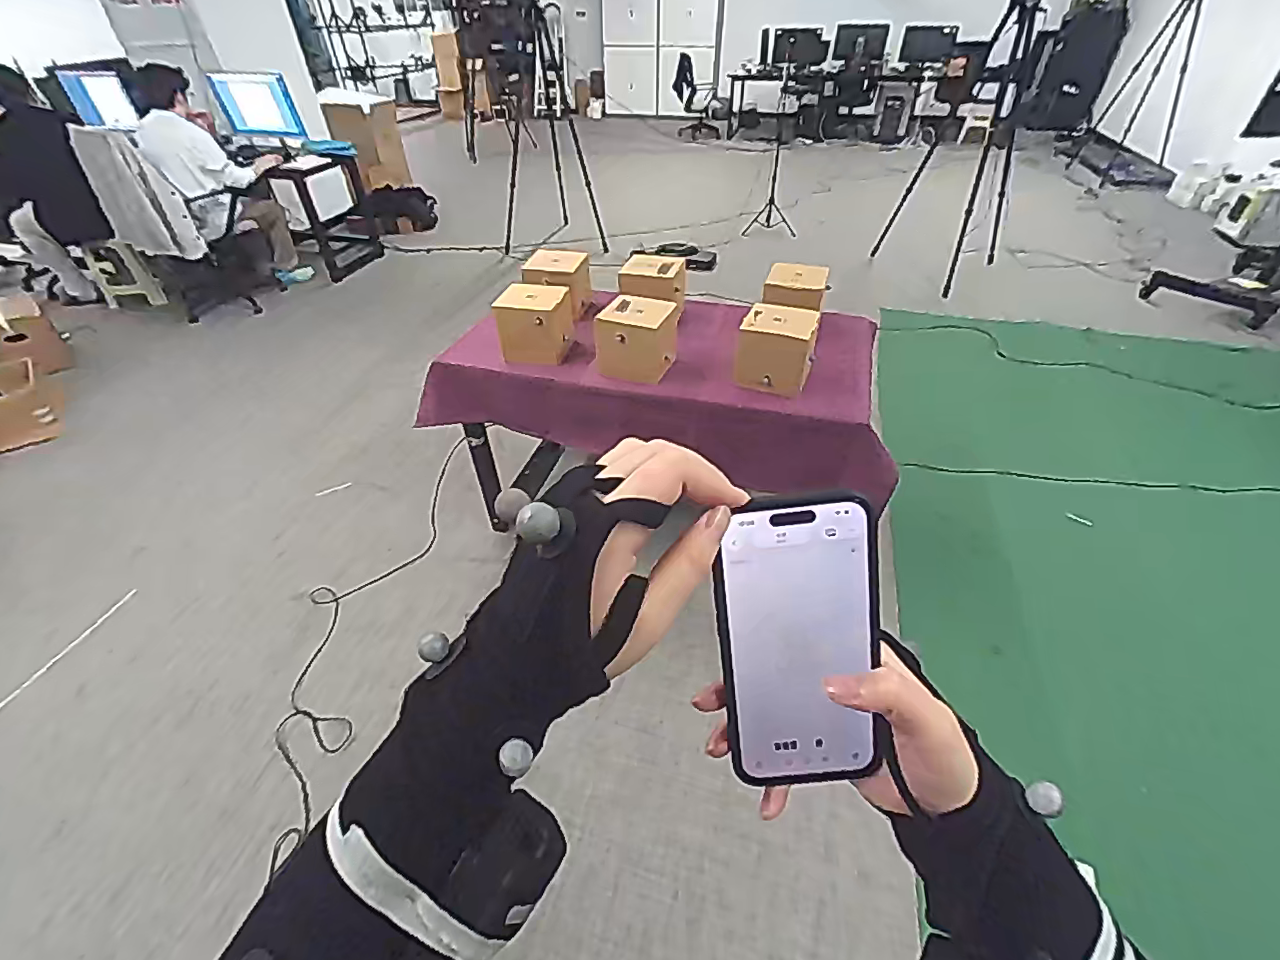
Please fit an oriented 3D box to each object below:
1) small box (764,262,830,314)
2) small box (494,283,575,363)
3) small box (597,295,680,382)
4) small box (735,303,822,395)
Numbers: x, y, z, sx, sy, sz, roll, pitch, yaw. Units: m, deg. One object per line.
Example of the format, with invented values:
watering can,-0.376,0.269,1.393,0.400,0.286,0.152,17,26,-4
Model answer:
small box,0.468,-0.540,1.642,0.168,0.176,0.179,13,44,16
small box,-0.298,-0.453,1.565,0.179,0.176,0.168,8,42,8
small box,-0.002,-0.388,1.483,0.179,0.176,0.168,16,44,17
small box,0.361,-0.342,1.423,0.179,0.176,0.168,16,44,18
